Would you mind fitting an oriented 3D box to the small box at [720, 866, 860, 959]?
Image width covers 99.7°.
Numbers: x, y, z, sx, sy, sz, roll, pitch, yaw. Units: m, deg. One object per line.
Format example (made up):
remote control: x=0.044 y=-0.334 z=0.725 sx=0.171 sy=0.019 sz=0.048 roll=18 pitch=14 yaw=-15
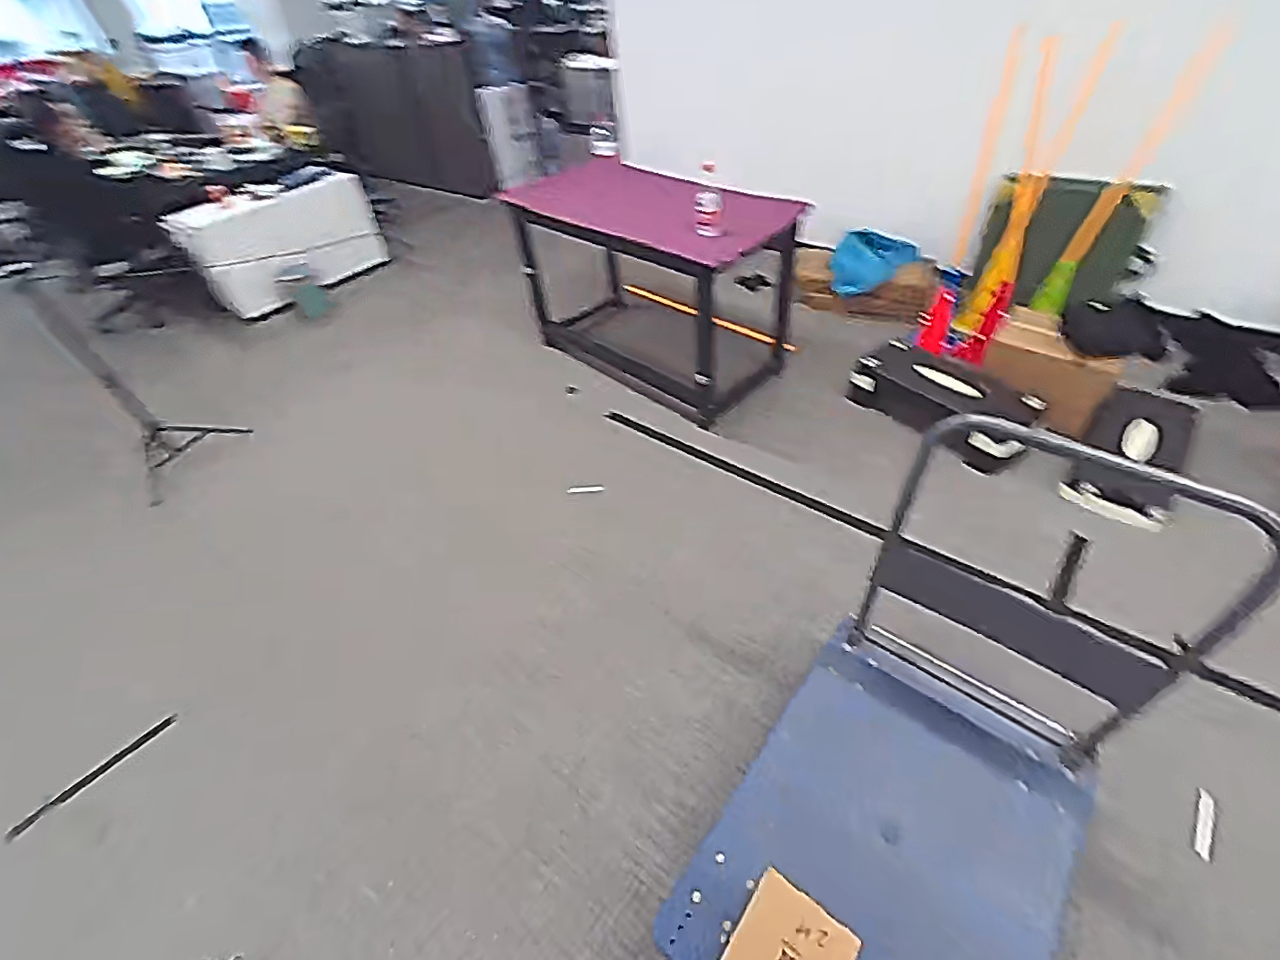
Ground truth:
small box: x=0.242 y=0.807 z=0.907 sx=0.168 sy=0.176 sz=0.179 roll=27 pitch=53 yaw=29
